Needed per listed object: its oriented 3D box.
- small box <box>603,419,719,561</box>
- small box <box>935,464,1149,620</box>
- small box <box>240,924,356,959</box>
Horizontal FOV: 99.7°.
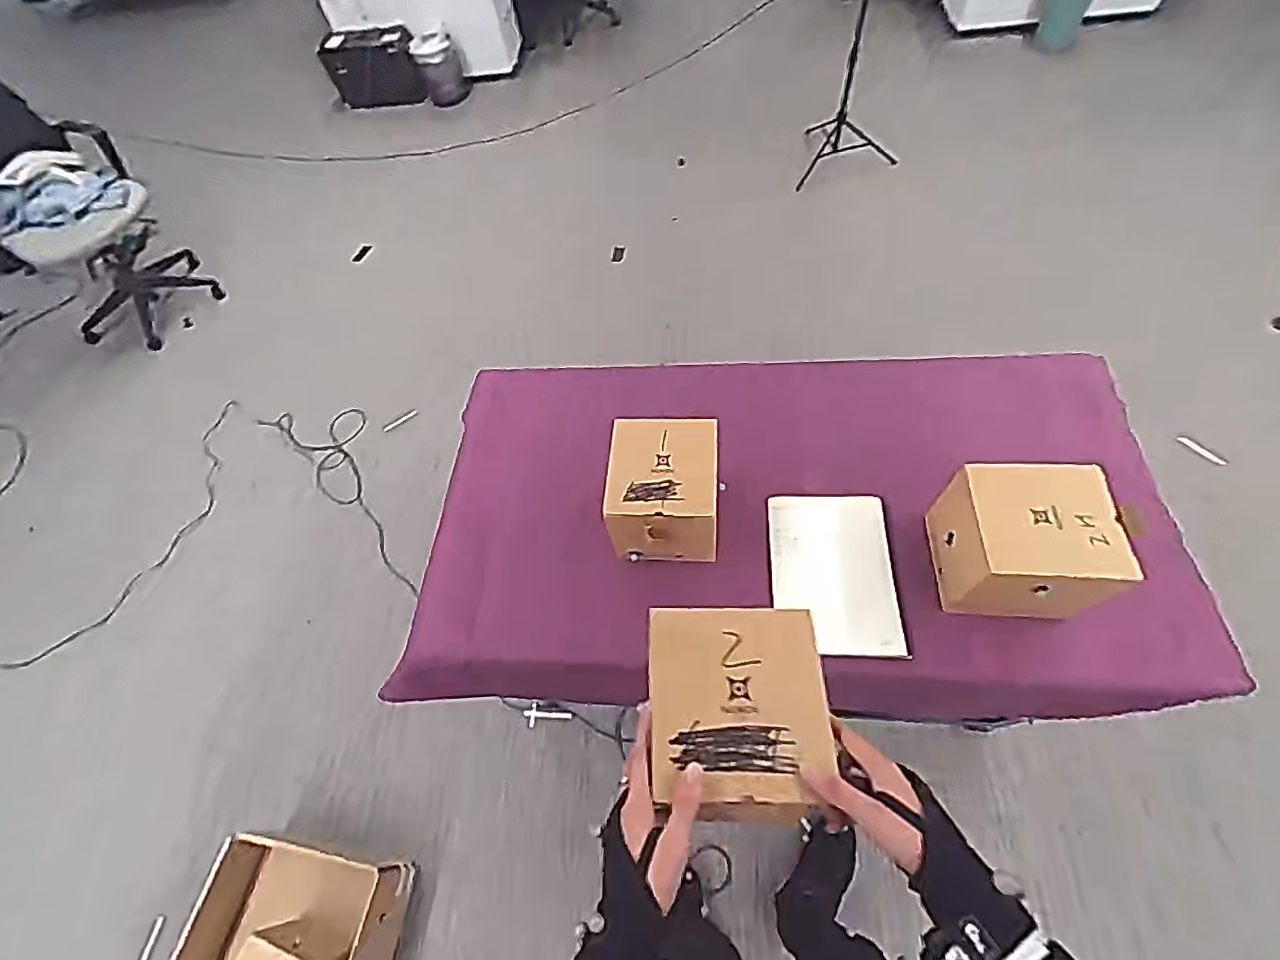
[{"bbox_3d":[0.043,0.021,0.873,0.168,0.176,0.179,1,59,8],"label":"small box"},{"bbox_3d":[0.540,0.092,0.764,0.179,0.176,0.168,2,60,8],"label":"small box"},{"bbox_3d":[-0.750,1.084,1.147,0.179,0.176,0.168,13,63,14],"label":"small box"}]
